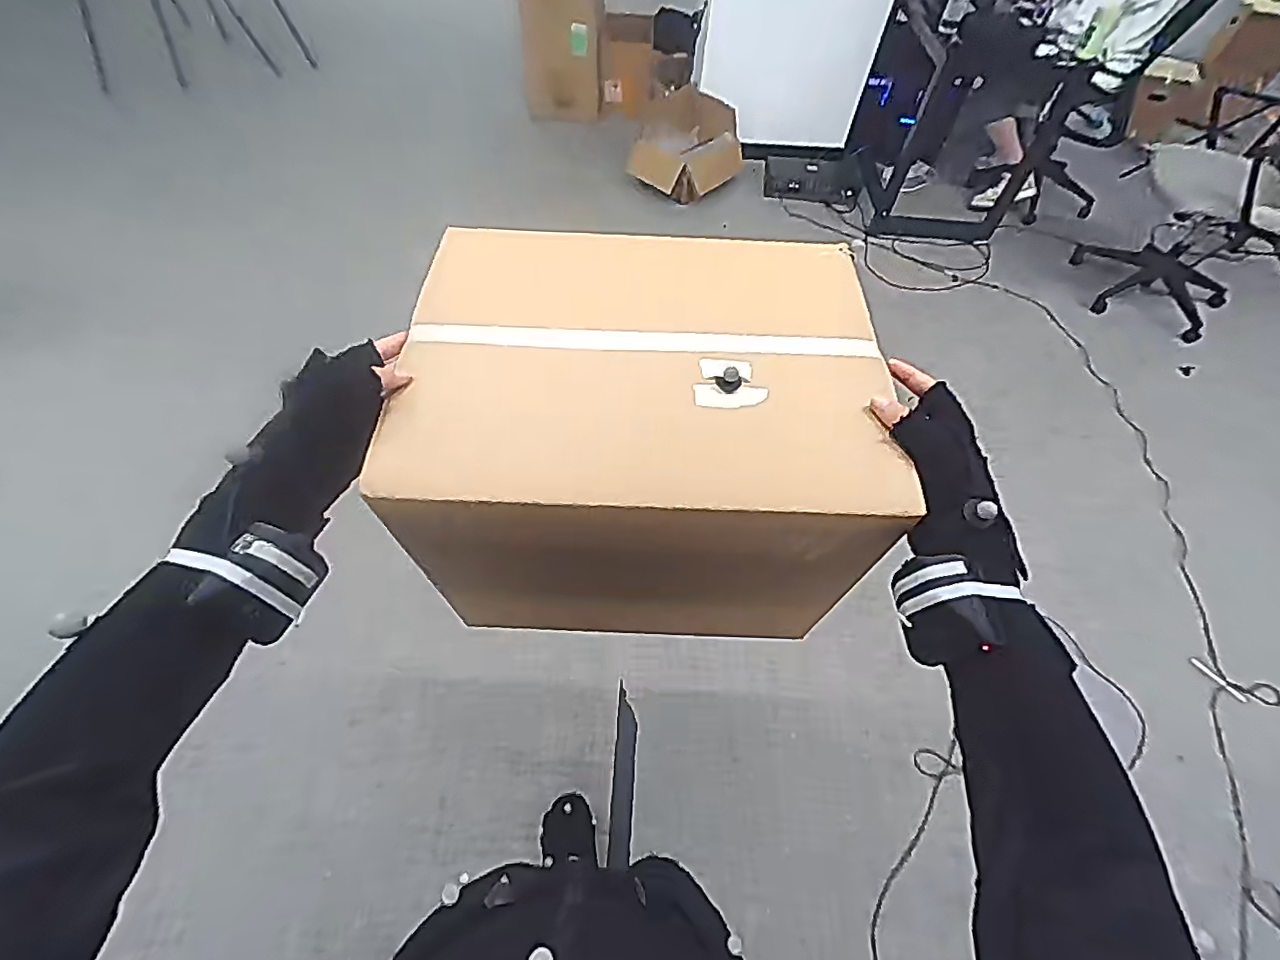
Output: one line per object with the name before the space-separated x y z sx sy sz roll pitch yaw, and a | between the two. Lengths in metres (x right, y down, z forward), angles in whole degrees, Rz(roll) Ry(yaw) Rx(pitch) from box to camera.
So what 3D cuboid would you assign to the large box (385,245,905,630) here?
large box | 0.001 -0.030 0.609 0.408 0.320 0.320 3 58 -1
